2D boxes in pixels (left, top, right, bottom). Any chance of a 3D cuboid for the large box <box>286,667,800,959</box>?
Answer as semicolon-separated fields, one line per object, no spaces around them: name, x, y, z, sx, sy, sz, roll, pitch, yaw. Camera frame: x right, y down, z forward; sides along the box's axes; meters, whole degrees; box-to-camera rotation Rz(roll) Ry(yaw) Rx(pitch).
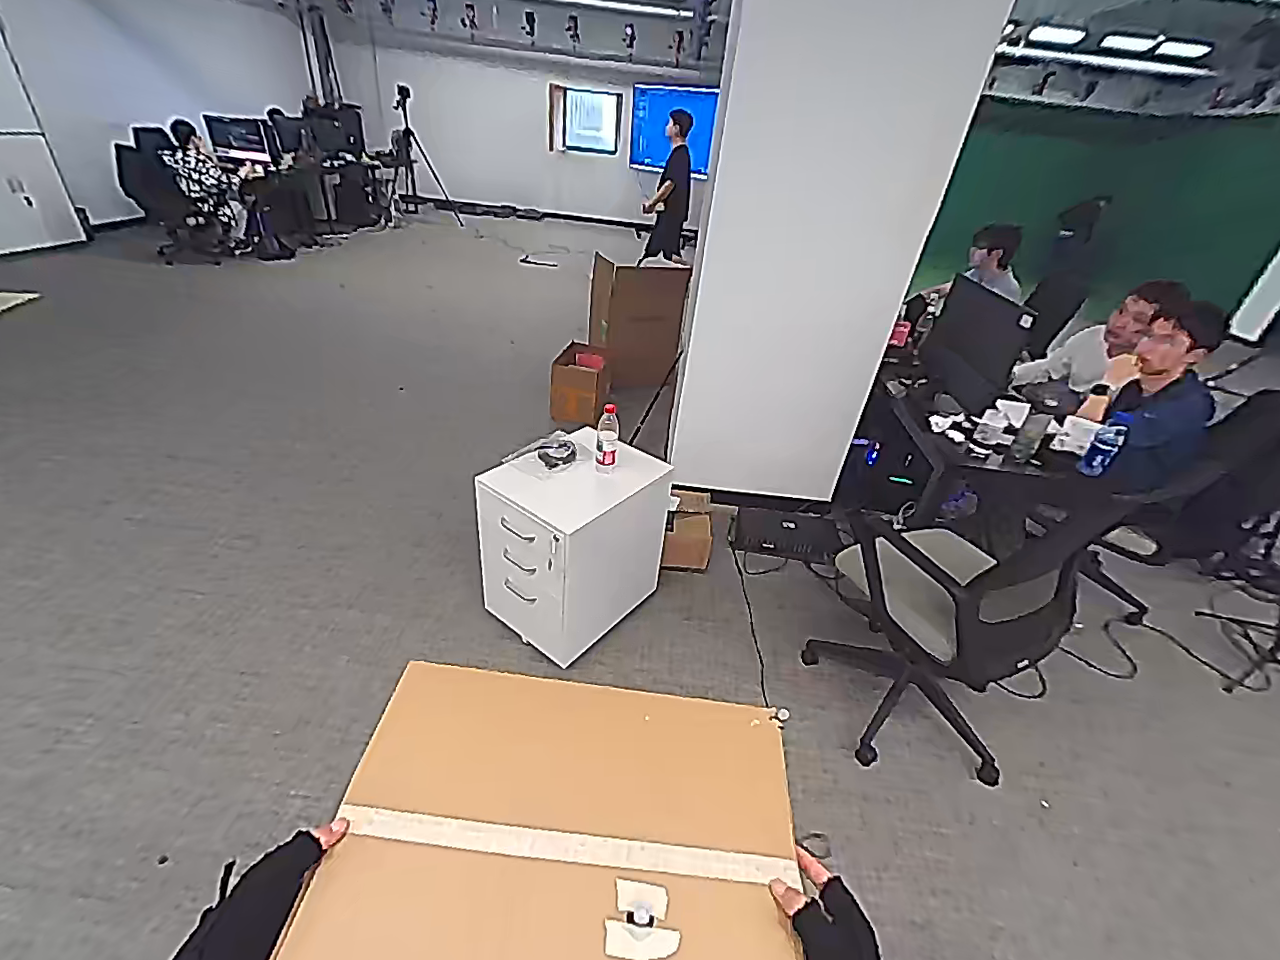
large box;-0.081;0.441;0.573;0.408;0.320;0.320;9;39;-1
